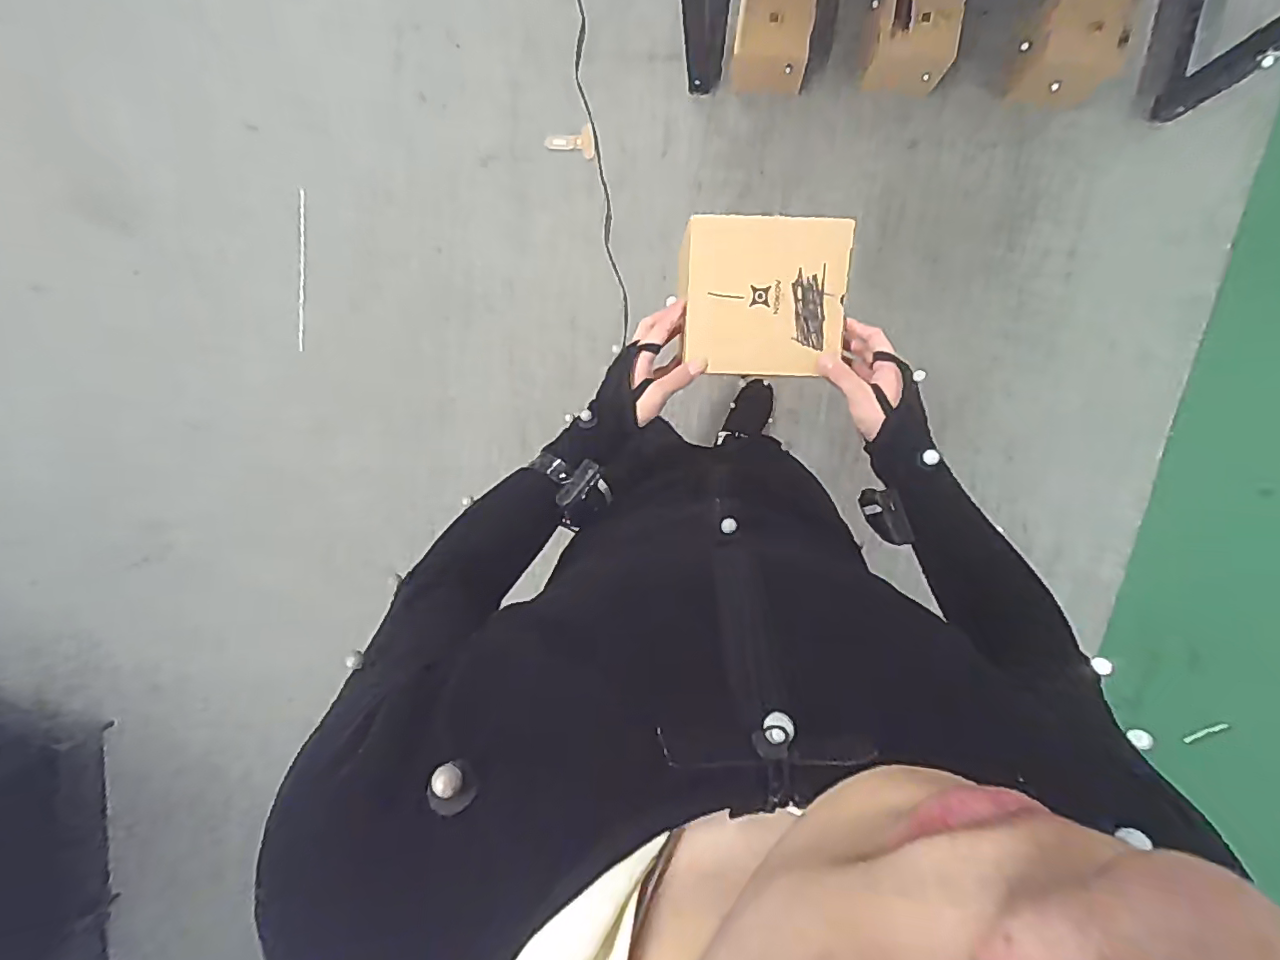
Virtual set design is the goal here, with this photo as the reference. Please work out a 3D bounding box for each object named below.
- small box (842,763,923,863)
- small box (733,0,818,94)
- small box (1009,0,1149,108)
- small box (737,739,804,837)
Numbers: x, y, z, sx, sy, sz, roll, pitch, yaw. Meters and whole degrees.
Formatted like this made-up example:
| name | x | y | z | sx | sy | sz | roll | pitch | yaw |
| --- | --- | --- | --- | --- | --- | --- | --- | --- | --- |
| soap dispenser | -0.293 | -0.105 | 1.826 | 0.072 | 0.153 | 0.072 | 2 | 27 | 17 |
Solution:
| name | x | y | z | sx | sy | sz | roll | pitch | yaw |
| --- | --- | --- | --- | --- | --- | --- | --- | --- | --- |
| small box | 0.713 | 0.981 | 1.609 | 0.168 | 0.176 | 0.179 | 9 | 101 | 7 |
| small box | 0.326 | -1.079 | 1.320 | 0.179 | 0.176 | 0.168 | 9 | 101 | 6 |
| small box | 0.992 | -0.987 | 1.237 | 0.179 | 0.176 | 0.168 | 12 | 101 | 6 |
| small box | 0.391 | 0.934 | 1.649 | 0.168 | 0.176 | 0.179 | 9 | 100 | 6 |
